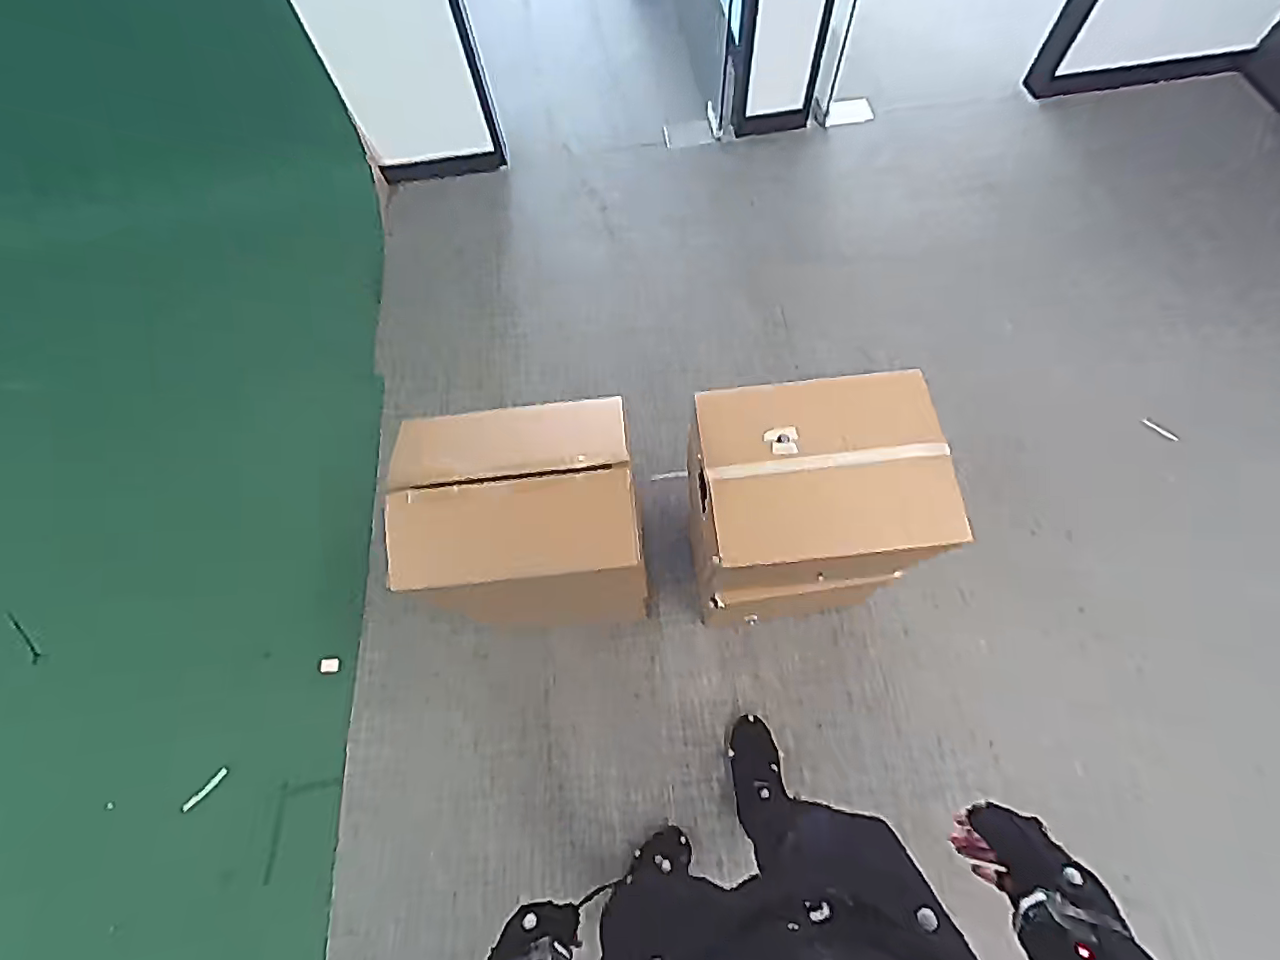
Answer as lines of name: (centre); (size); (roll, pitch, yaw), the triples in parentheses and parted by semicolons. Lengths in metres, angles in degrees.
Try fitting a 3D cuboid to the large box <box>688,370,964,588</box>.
large box: (0.312, 0.020, 1.043); (0.408, 0.320, 0.320); (-6, 71, 2)
